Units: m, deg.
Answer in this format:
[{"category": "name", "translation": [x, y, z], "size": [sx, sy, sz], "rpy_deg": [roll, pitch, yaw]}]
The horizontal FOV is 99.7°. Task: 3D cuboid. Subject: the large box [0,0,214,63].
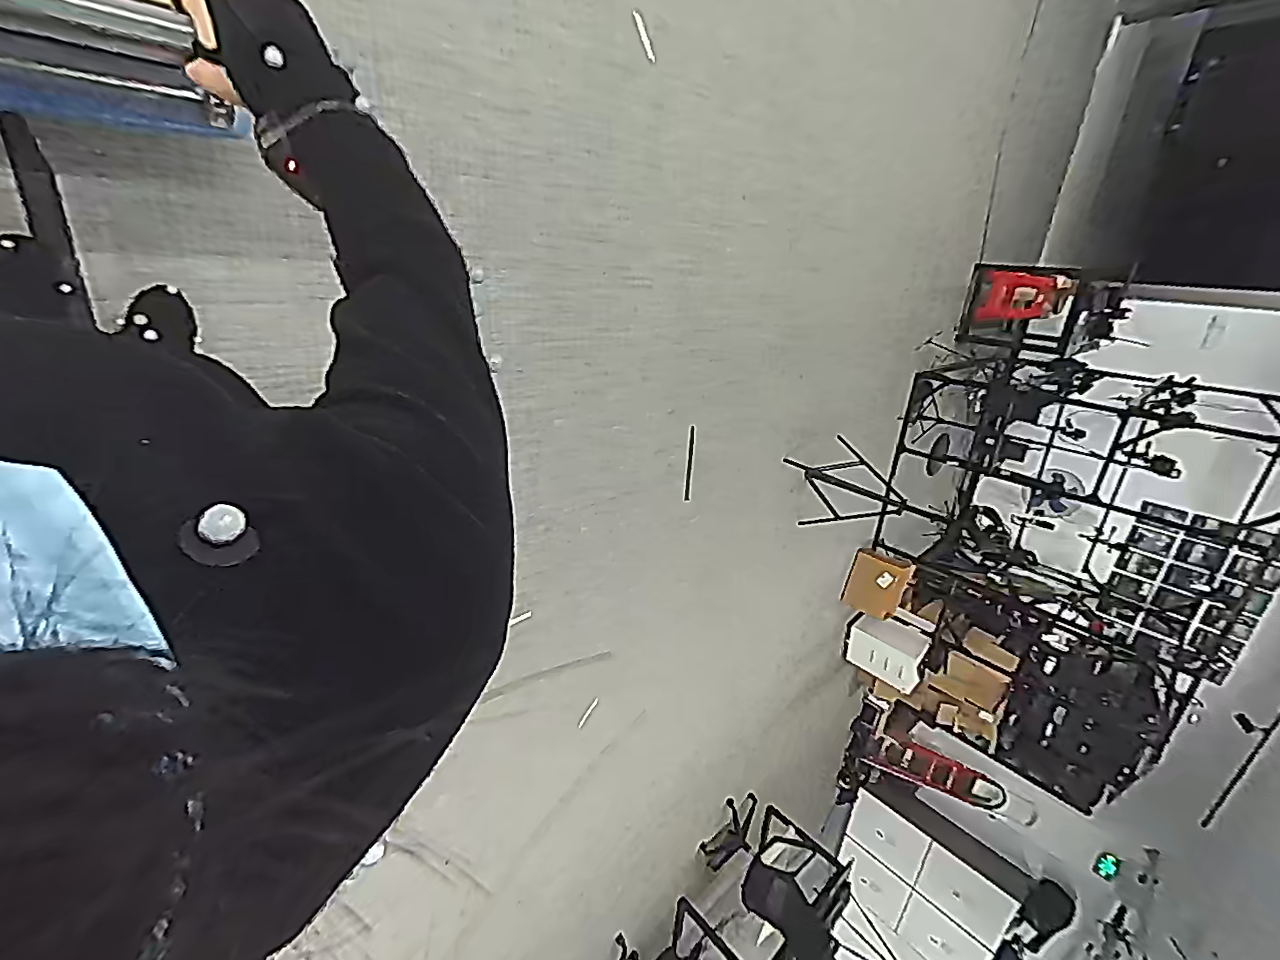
[{"category": "large box", "translation": [-0.783, -0.725, 0.599], "size": [0.408, 0.320, 0.320], "rpy_deg": [-18, 121, -42]}]
